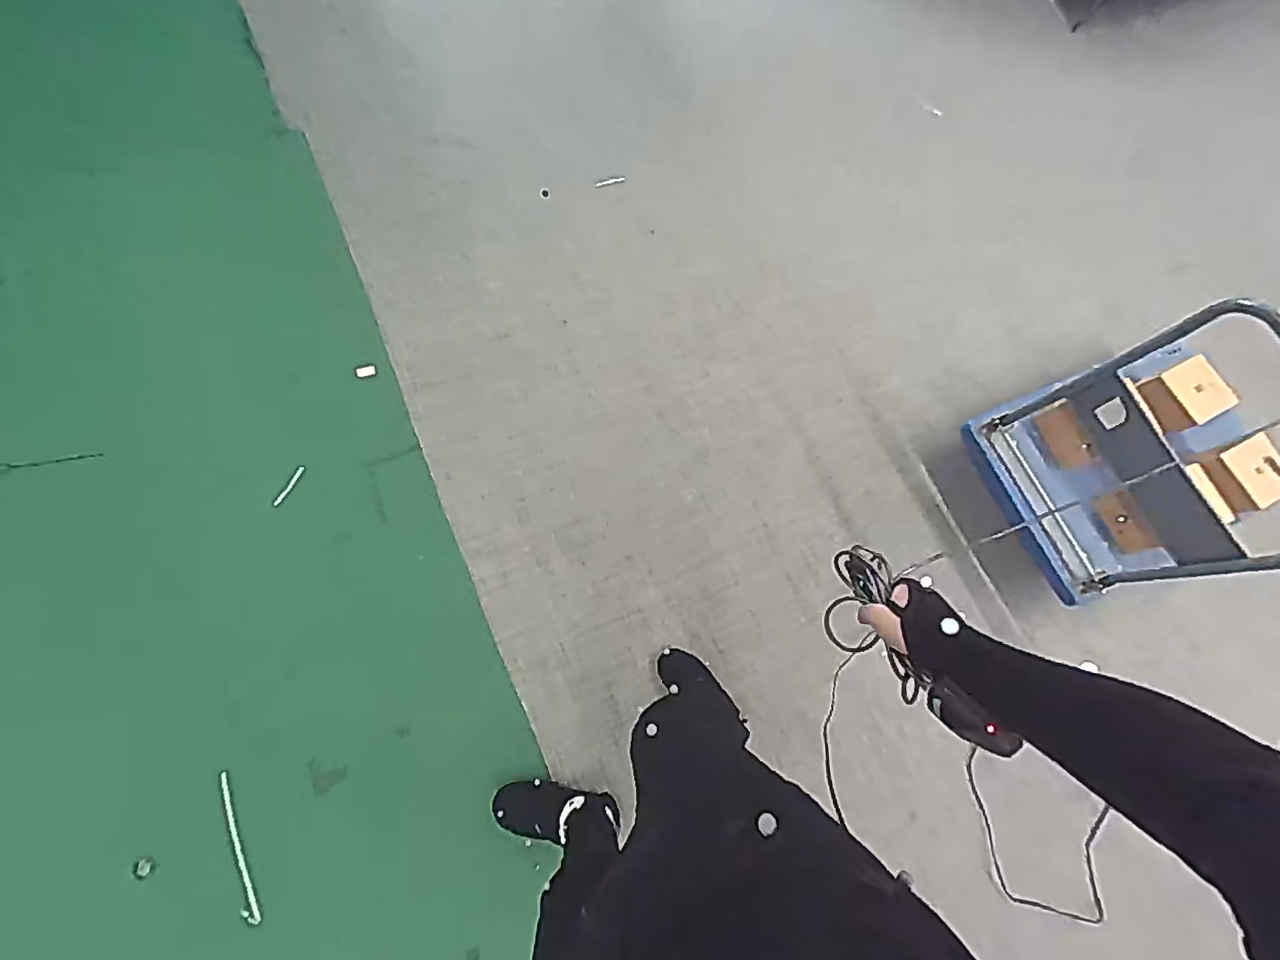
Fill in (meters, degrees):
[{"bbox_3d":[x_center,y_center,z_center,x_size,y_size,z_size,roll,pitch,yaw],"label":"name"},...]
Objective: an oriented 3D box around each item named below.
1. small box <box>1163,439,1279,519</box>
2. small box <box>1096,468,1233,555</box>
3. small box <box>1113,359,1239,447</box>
[{"bbox_3d":[1.638,0.010,1.509,0.179,0.176,0.168,-22,76,-13],"label":"small box"},{"bbox_3d":[1.400,0.089,1.455,0.179,0.176,0.168,-19,76,-12],"label":"small box"},{"bbox_3d":[1.534,-0.217,1.566,0.179,0.176,0.168,-24,78,-14],"label":"small box"}]
